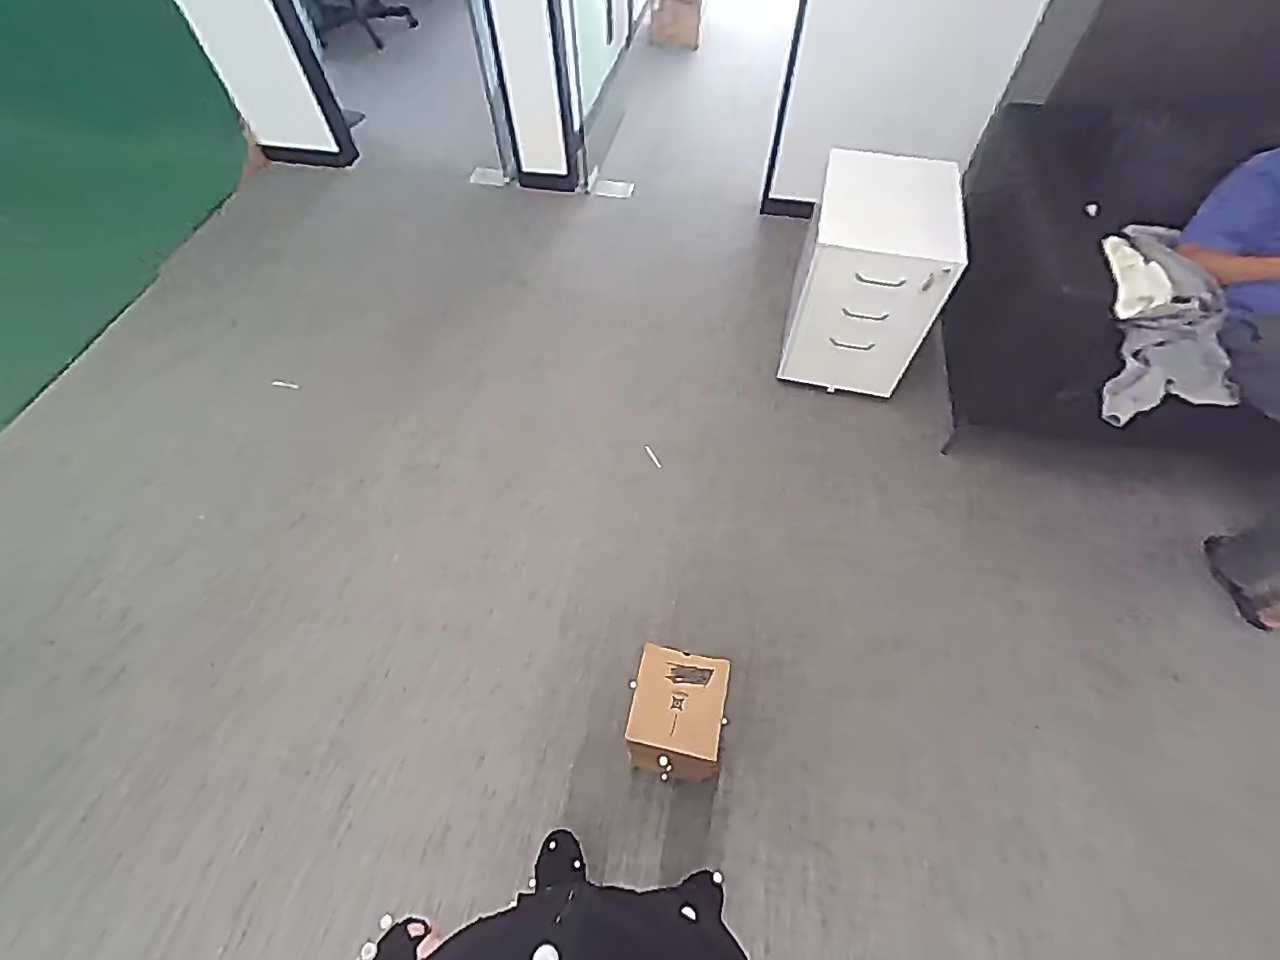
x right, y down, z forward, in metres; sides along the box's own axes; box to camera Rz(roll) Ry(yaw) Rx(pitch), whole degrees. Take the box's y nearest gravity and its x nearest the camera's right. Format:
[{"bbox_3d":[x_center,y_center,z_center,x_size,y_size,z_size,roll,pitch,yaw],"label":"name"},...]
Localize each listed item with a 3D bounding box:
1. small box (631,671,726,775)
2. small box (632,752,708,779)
[{"bbox_3d":[0.082,0.539,1.188,0.179,0.176,0.168,11,58,6],"label":"small box"},{"bbox_3d":[0.082,0.624,1.327,0.179,0.176,0.168,11,58,7],"label":"small box"}]
